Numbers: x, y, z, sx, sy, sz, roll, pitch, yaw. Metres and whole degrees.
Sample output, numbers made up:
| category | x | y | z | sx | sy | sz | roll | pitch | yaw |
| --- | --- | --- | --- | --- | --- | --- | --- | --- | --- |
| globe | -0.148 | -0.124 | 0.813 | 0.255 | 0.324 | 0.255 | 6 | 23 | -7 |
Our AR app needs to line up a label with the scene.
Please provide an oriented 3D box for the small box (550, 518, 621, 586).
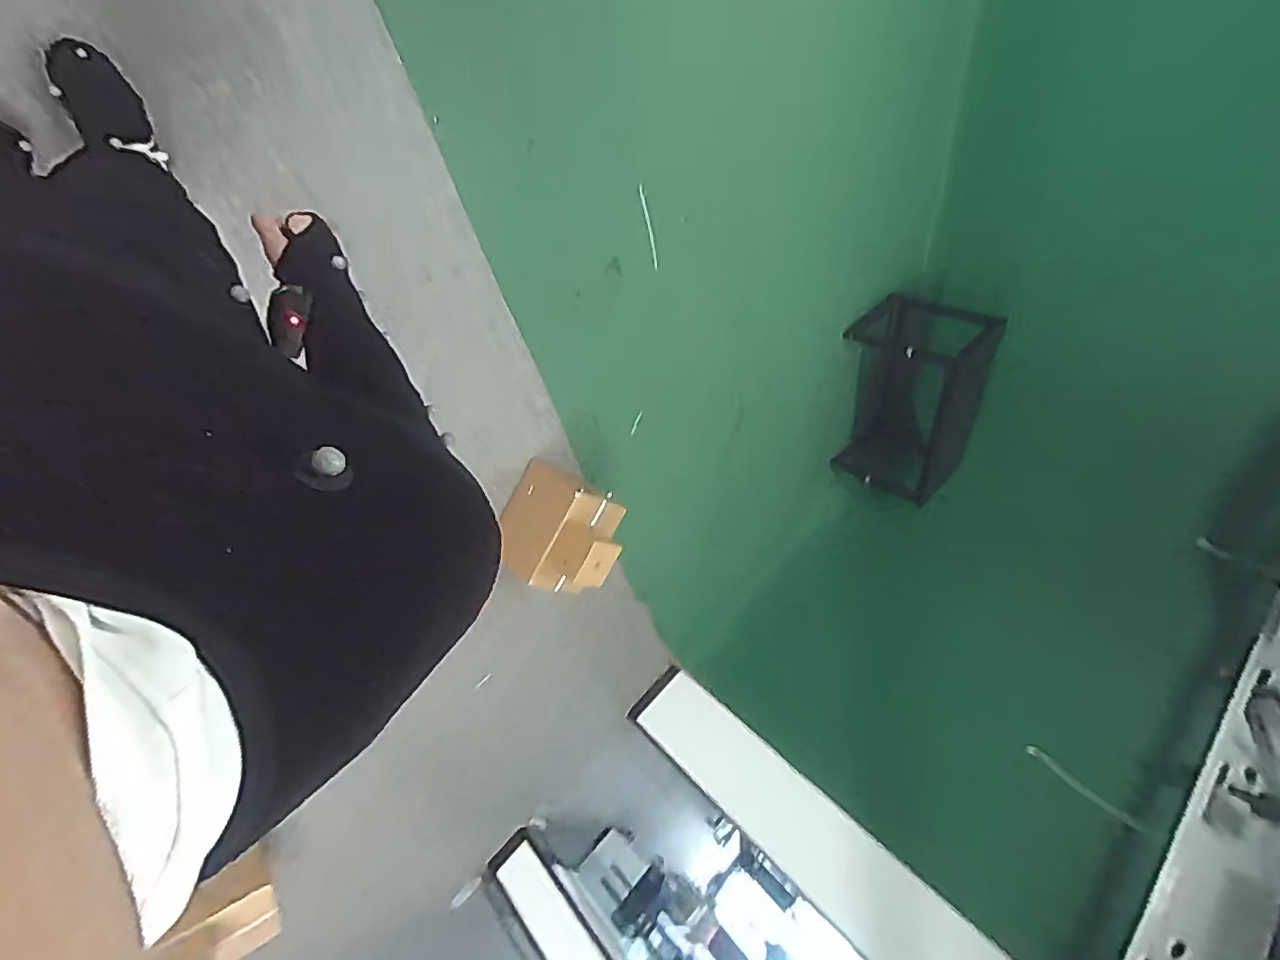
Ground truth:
| category | x | y | z | sx | sy | sz | roll | pitch | yaw |
| --- | --- | --- | --- | --- | --- | --- | --- | --- | --- |
| small box | -0.209 | 0.268 | 2.004 | 0.168 | 0.176 | 0.179 | 24 | 97 | -53 |

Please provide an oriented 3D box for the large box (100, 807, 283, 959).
| category | x | y | z | sx | sy | sz | roll | pitch | yaw |
| --- | --- | --- | --- | --- | --- | --- | --- | --- | --- |
| large box | -1.487 | 1.419 | 1.812 | 0.408 | 0.320 | 0.320 | -15 | 127 | -43 |
